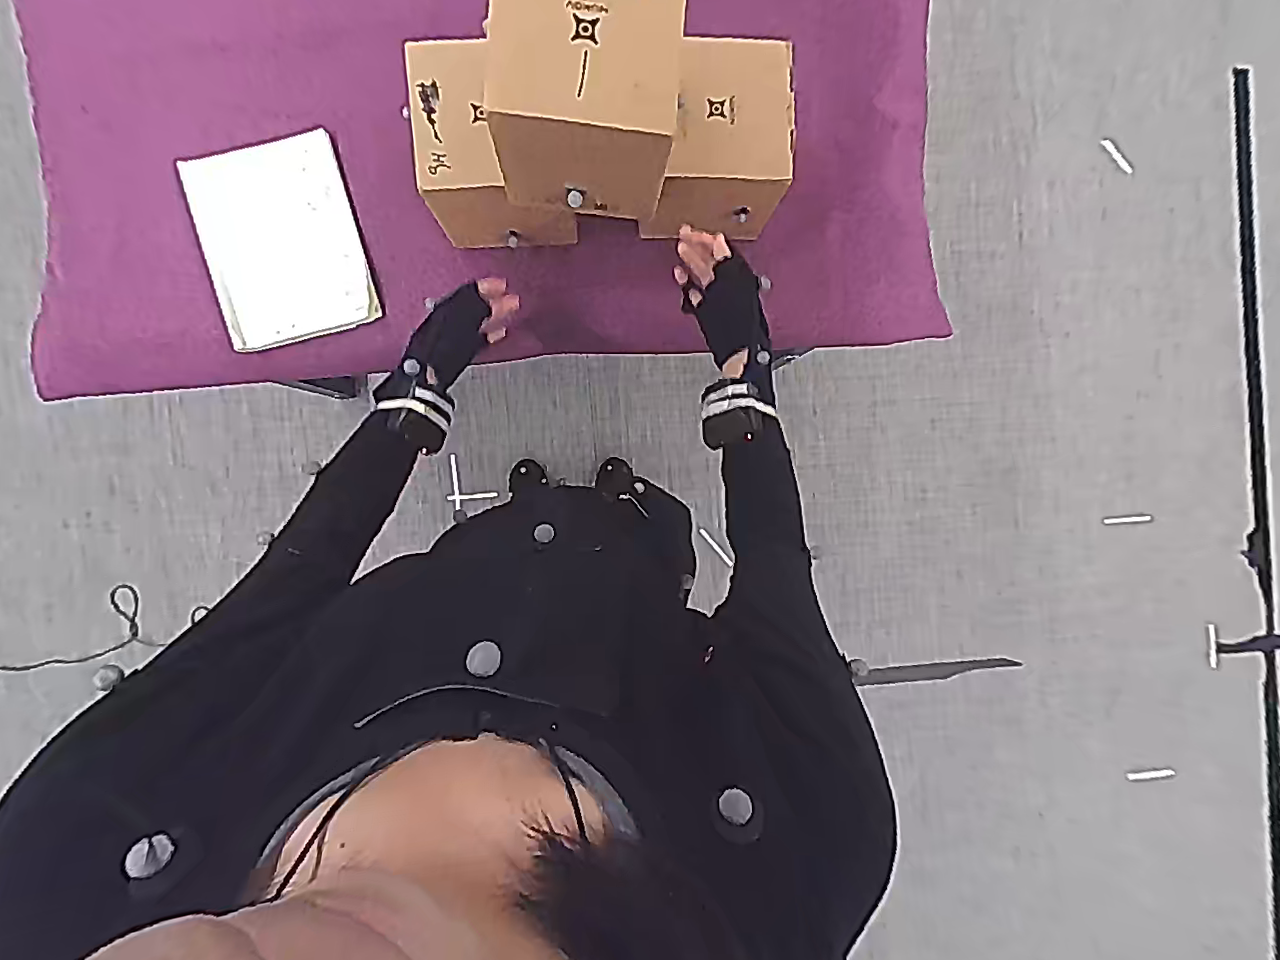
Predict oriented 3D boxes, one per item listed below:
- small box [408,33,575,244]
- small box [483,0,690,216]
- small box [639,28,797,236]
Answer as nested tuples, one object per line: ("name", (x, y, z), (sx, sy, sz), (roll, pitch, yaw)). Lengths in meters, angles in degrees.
("small box", (-0.173, -0.414, 0.683), (0.179, 0.176, 0.168), (-5, 91, -6))
("small box", (-0.049, -0.391, 0.527), (0.168, 0.176, 0.179), (5, 91, -5))
("small box", (0.091, -0.434, 0.702), (0.179, 0.176, 0.168), (0, 90, -2))
